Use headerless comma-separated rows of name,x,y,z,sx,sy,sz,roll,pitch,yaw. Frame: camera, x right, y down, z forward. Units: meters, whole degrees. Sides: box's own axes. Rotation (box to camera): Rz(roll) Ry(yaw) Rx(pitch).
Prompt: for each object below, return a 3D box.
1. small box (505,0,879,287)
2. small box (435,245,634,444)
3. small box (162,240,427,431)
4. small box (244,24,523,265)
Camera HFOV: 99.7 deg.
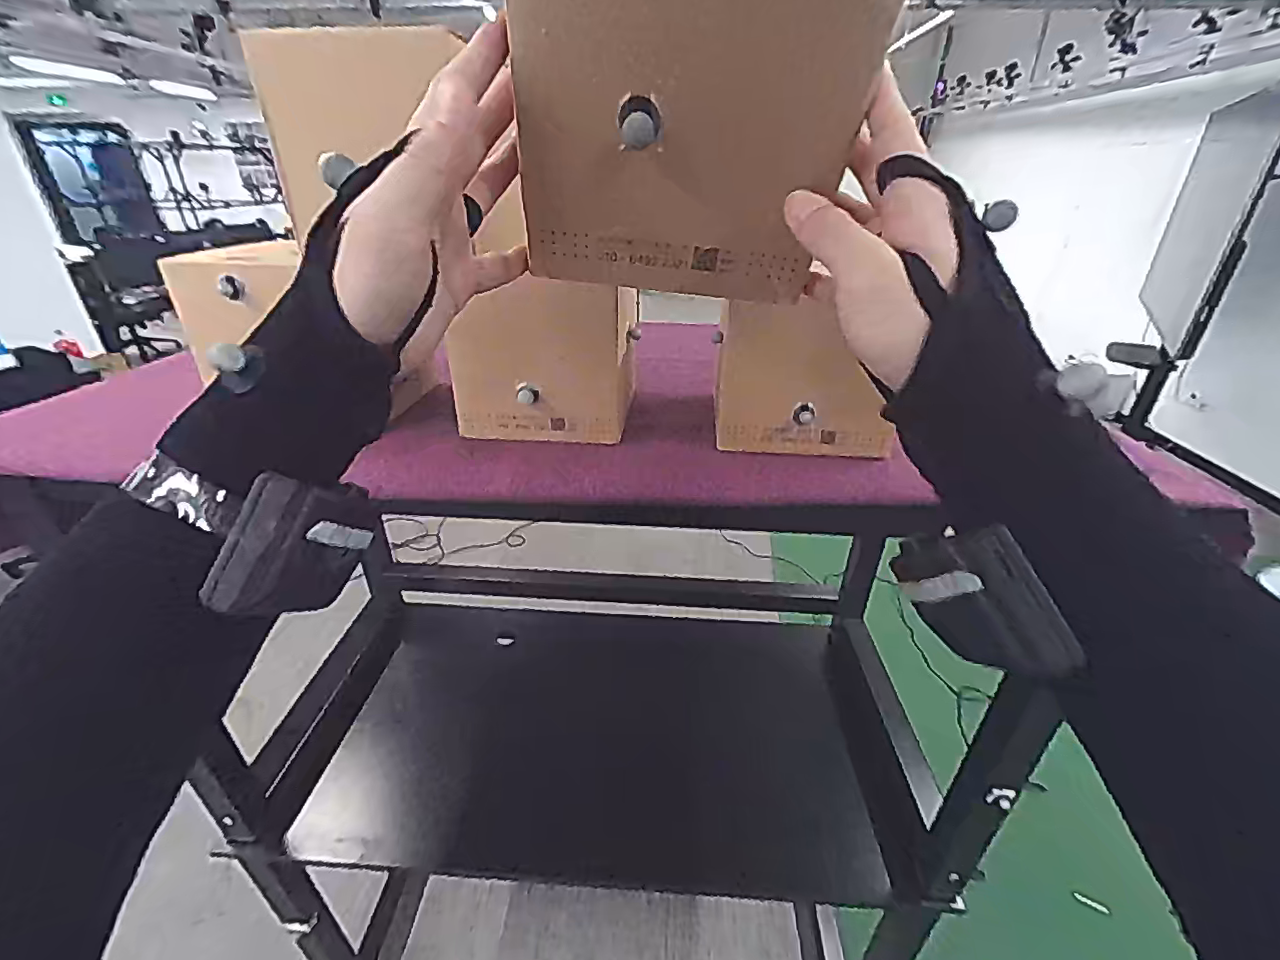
small box,0.026,-0.237,0.320,0.168,0.176,0.179,6,52,-1
small box,-0.097,-0.153,0.582,0.168,0.176,0.179,3,29,4
small box,-0.350,-0.165,0.593,0.168,0.176,0.179,2,27,3
small box,-0.215,-0.305,0.514,0.168,0.176,0.179,3,29,5
